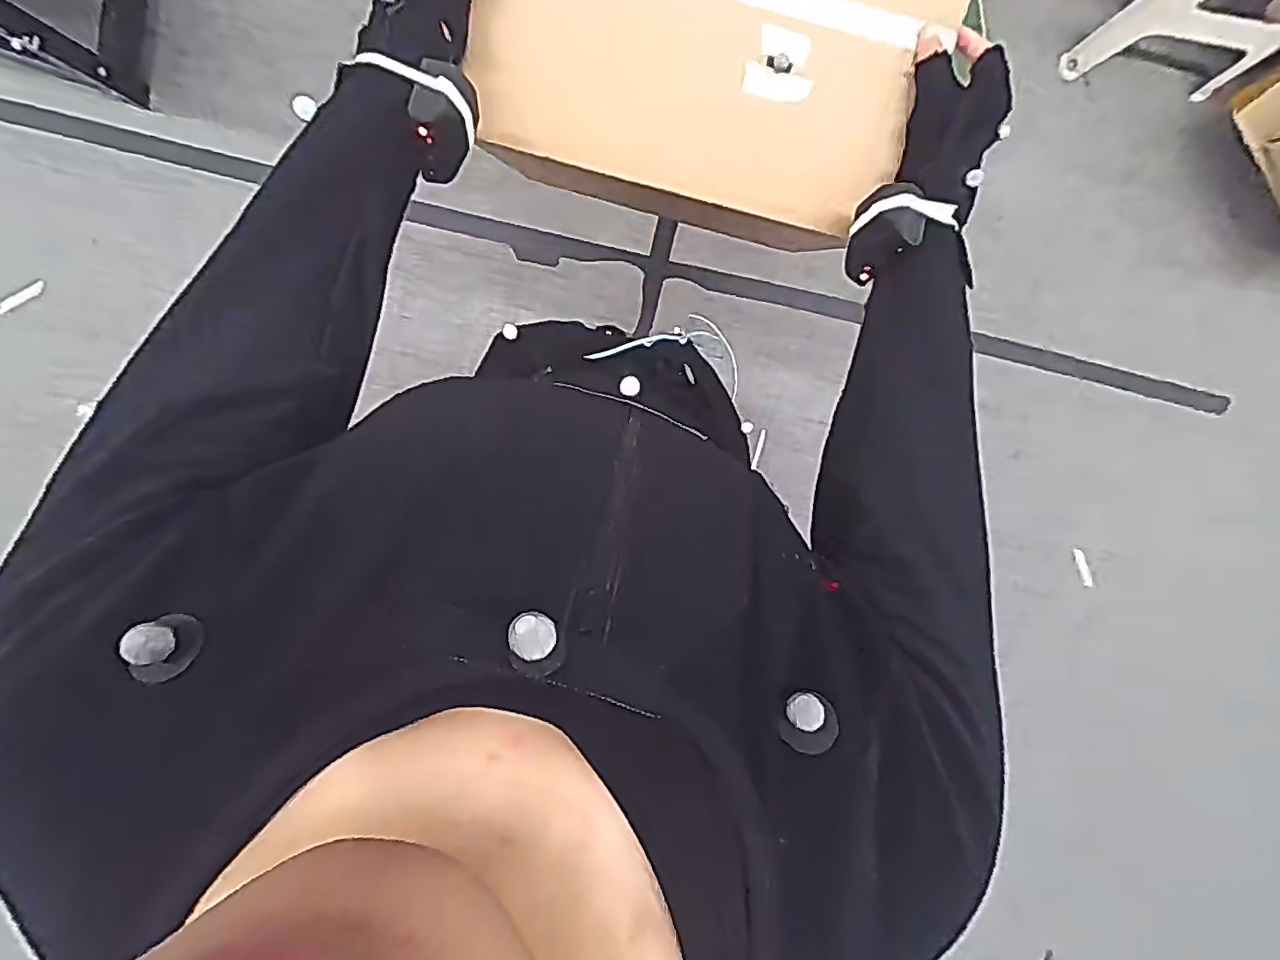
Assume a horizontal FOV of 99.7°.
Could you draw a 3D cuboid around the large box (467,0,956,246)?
[{"bbox_3d":[0.065,-0.467,0.591,0.408,0.320,0.320,12,112,-4],"label":"large box"}]
